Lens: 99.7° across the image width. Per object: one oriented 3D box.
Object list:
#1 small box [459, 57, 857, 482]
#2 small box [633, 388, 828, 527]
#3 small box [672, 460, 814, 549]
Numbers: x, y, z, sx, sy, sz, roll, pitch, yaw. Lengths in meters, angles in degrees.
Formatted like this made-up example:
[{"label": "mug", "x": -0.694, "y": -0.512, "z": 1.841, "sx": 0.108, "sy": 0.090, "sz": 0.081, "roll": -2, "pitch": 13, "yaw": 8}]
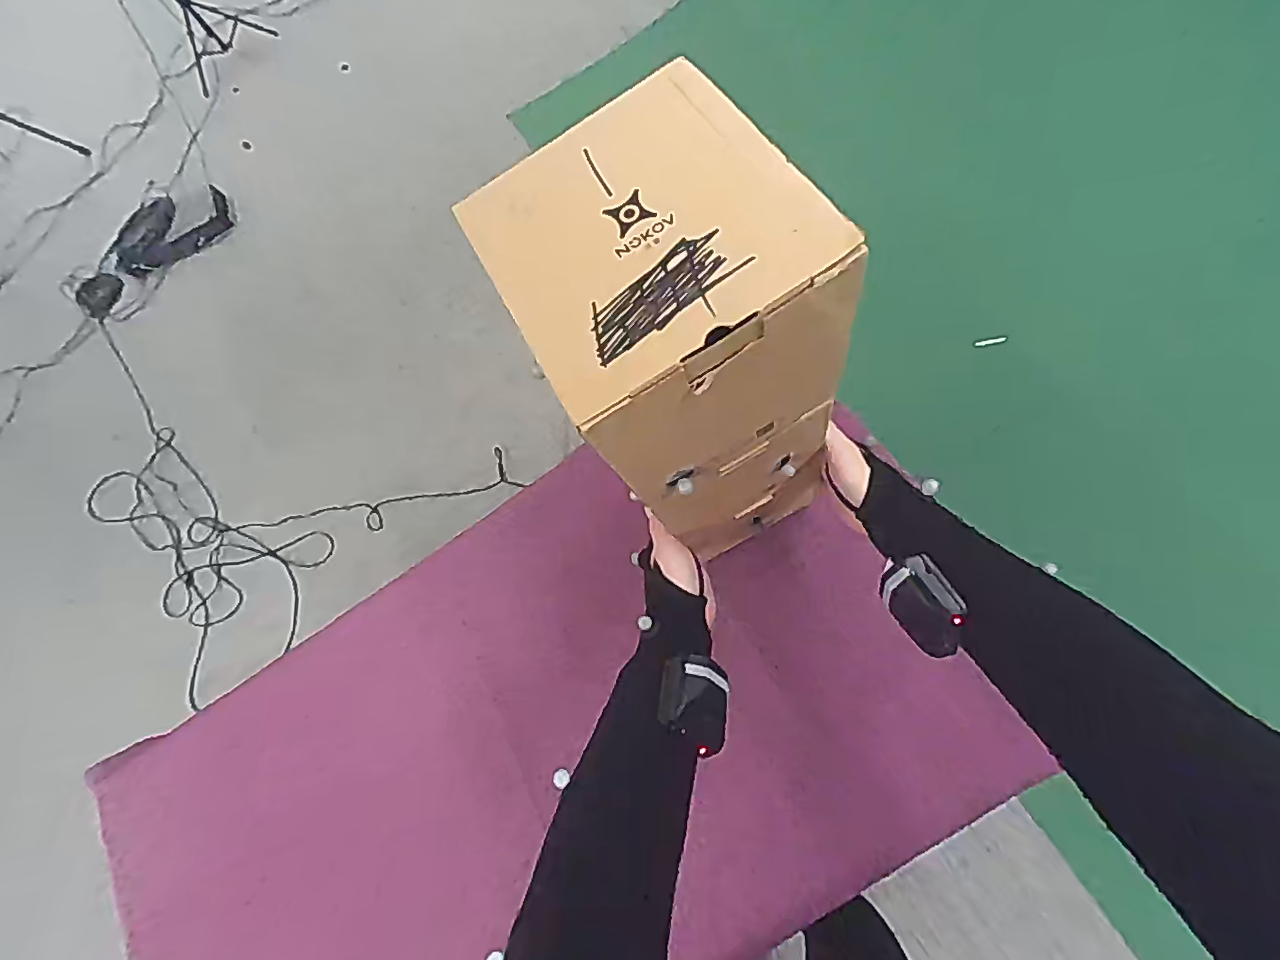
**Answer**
[{"label": "small box", "x": 0.017, "y": -0.115, "z": 0.365, "sx": 0.168, "sy": 0.176, "sz": 0.179, "roll": -31, "pitch": 69, "yaw": 3}, {"label": "small box", "x": 0.057, "y": -0.069, "z": 0.517, "sx": 0.168, "sy": 0.176, "sz": 0.179, "roll": -30, "pitch": 69, "yaw": 4}, {"label": "small box", "x": 0.095, "y": -0.026, "z": 0.671, "sx": 0.168, "sy": 0.176, "sz": 0.179, "roll": -30, "pitch": 70, "yaw": 4}]
